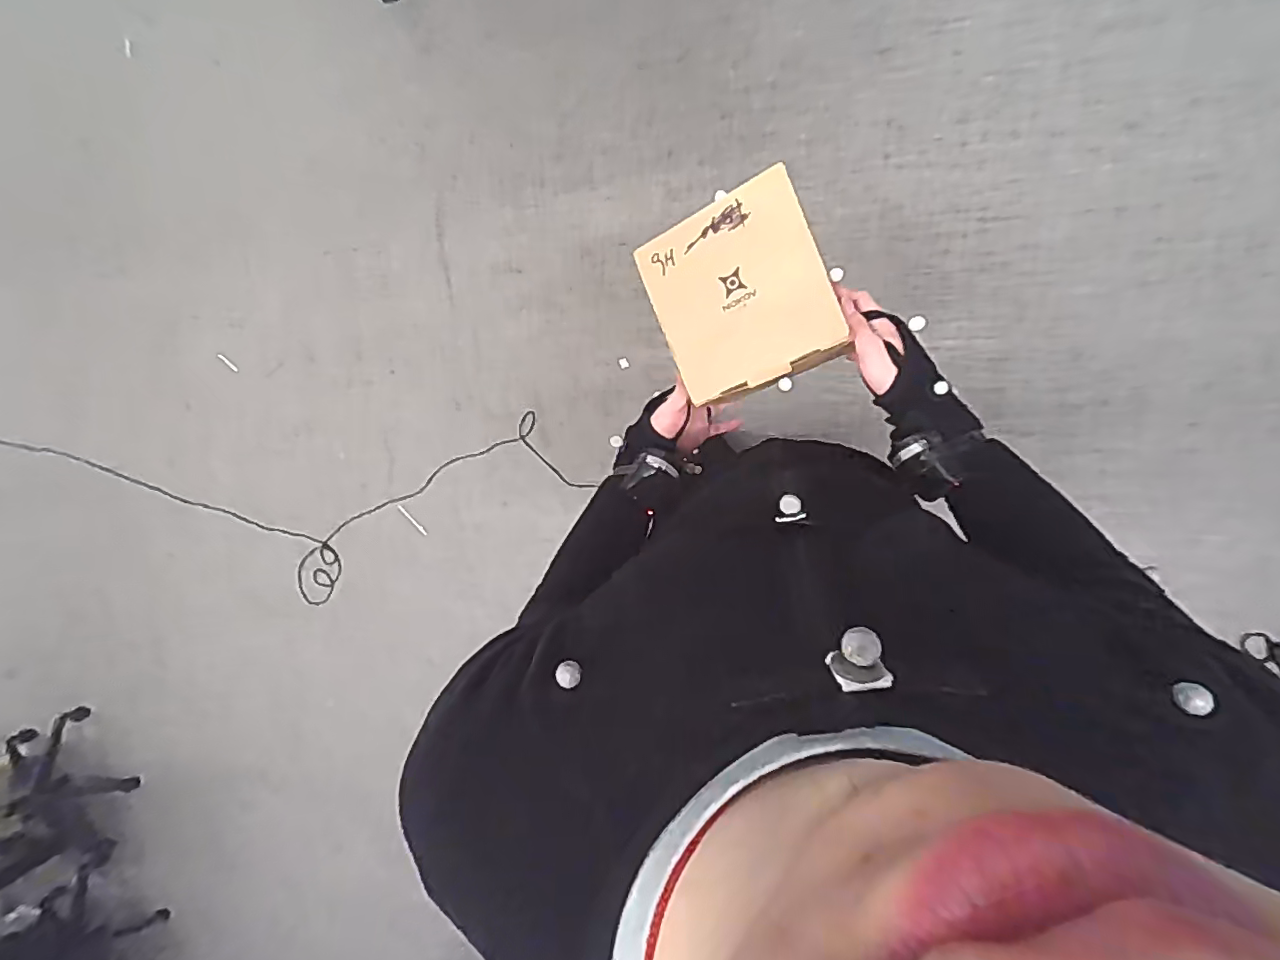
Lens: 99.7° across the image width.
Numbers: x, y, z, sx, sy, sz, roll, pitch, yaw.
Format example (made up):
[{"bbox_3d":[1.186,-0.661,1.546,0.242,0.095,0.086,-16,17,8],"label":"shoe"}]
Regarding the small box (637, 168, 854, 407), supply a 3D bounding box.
[{"bbox_3d":[0.127,-0.196,0.600,0.168,0.176,0.179,-22,91,25],"label":"small box"}]
